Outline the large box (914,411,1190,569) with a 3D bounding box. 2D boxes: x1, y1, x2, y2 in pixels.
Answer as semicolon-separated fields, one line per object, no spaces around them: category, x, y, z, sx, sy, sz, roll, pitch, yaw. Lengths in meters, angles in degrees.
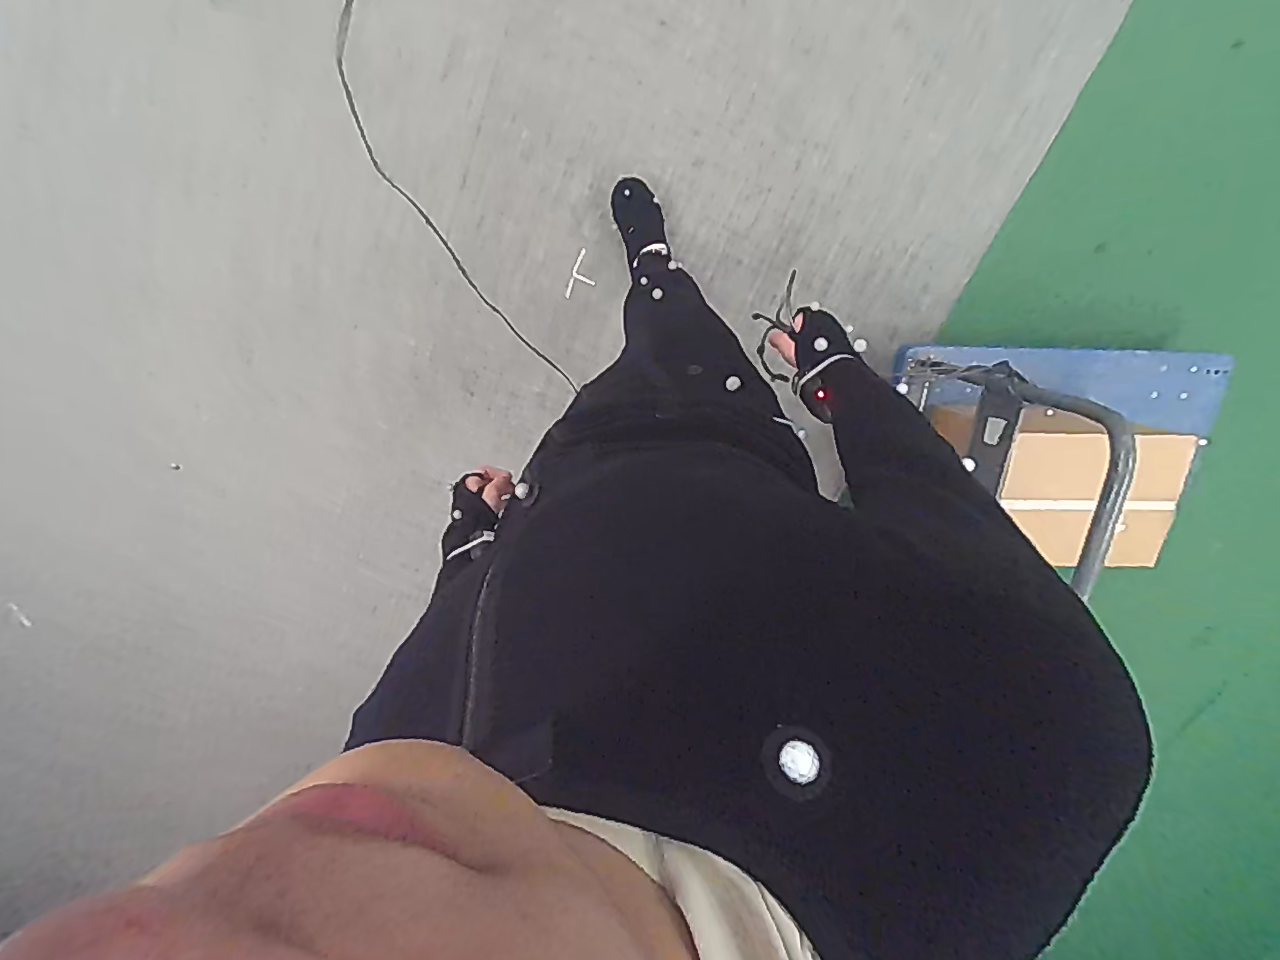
large box;0.958;0.009;1.322;0.408;0.320;0.320;1;109;-3
